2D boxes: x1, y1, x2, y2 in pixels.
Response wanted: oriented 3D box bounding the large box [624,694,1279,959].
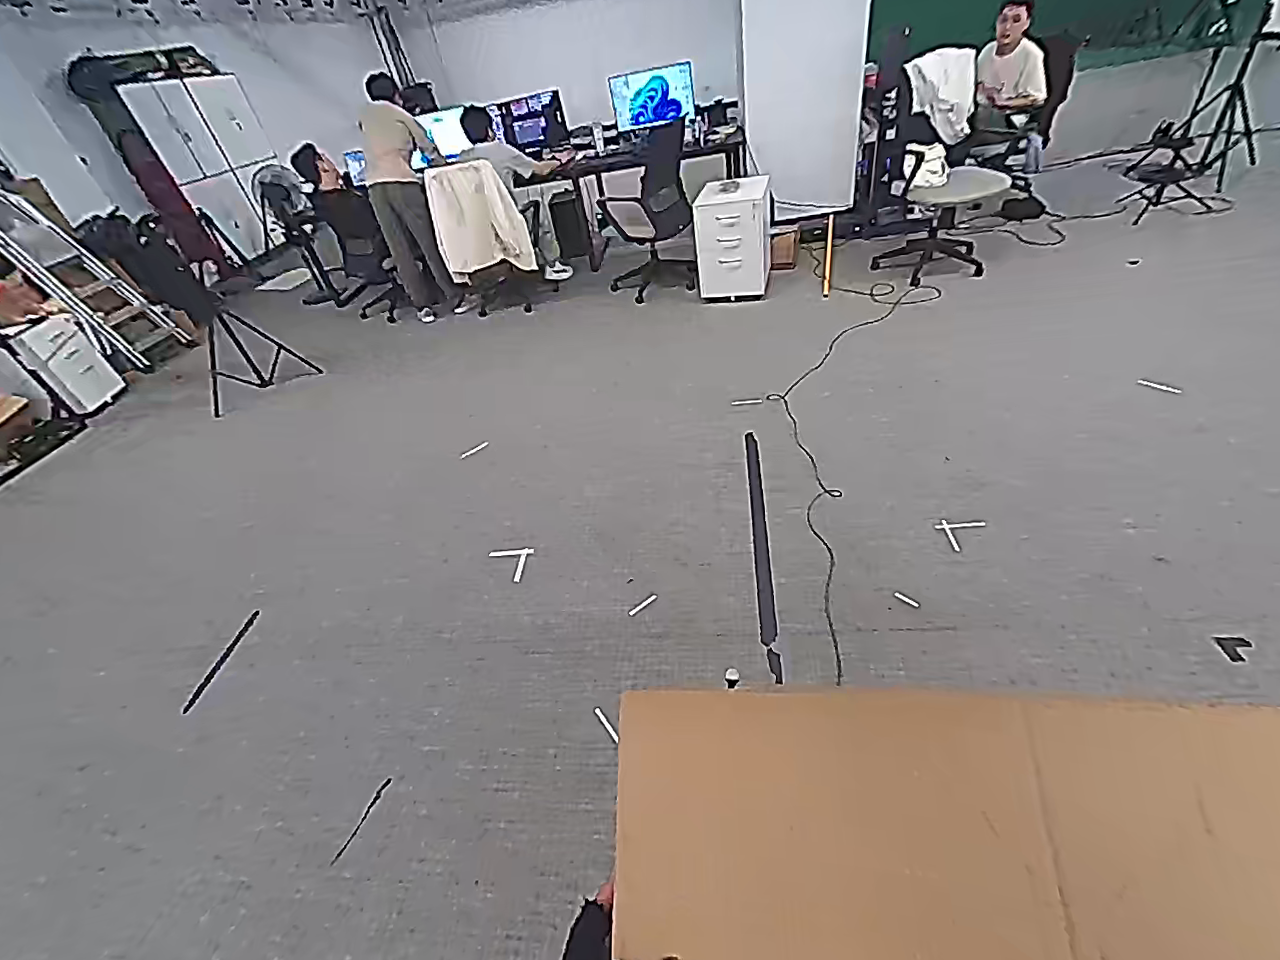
[{"bbox_3d":[0.217,0.333,0.416,0.408,0.320,0.320,-4,70,14],"label":"large box"}]
